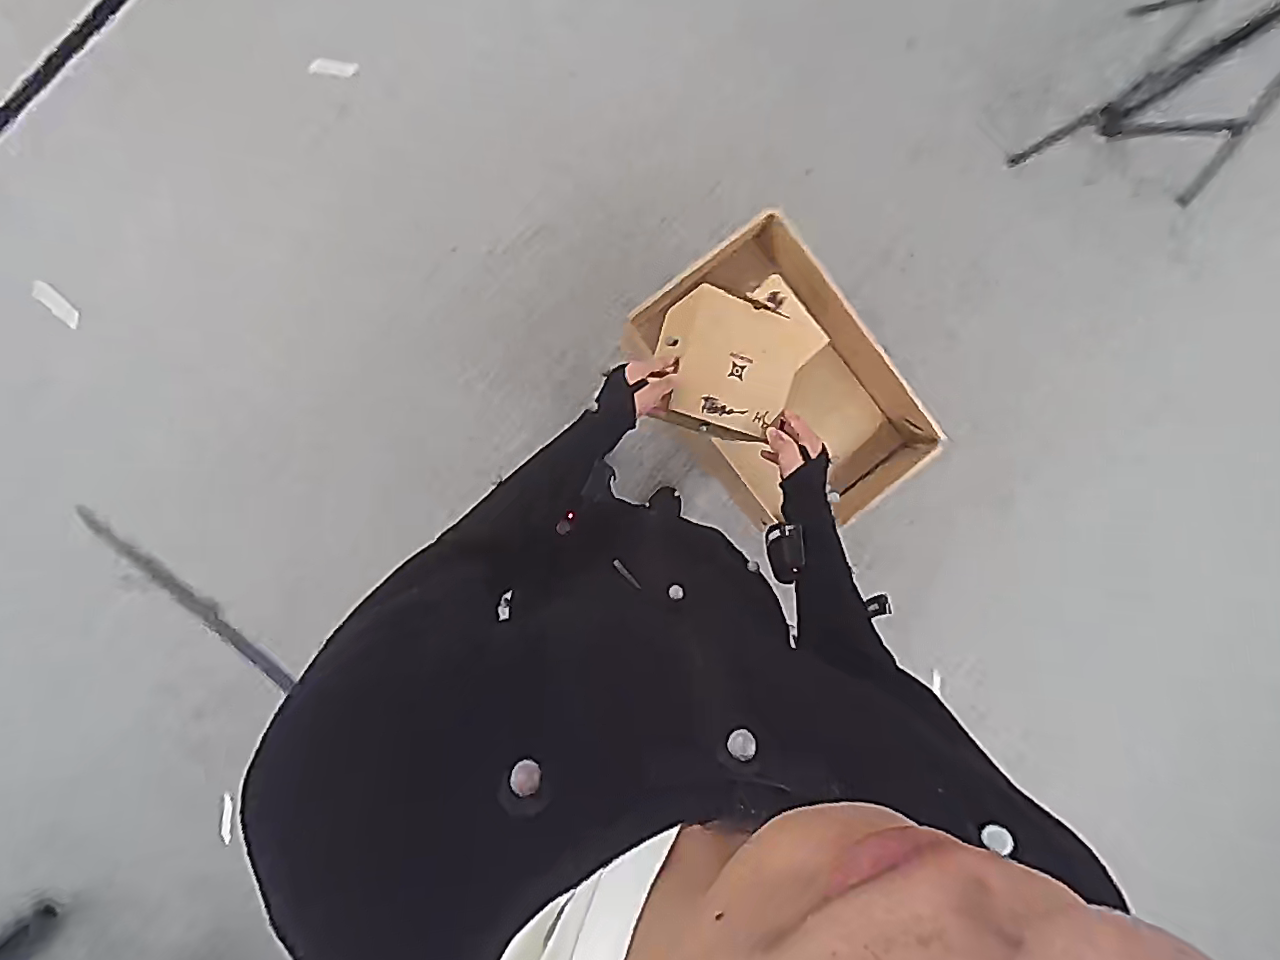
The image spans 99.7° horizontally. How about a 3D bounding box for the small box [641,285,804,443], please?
[{"bbox_3d":[0.112,-0.161,0.812,0.168,0.176,0.179,16,90,-15],"label":"small box"}]
